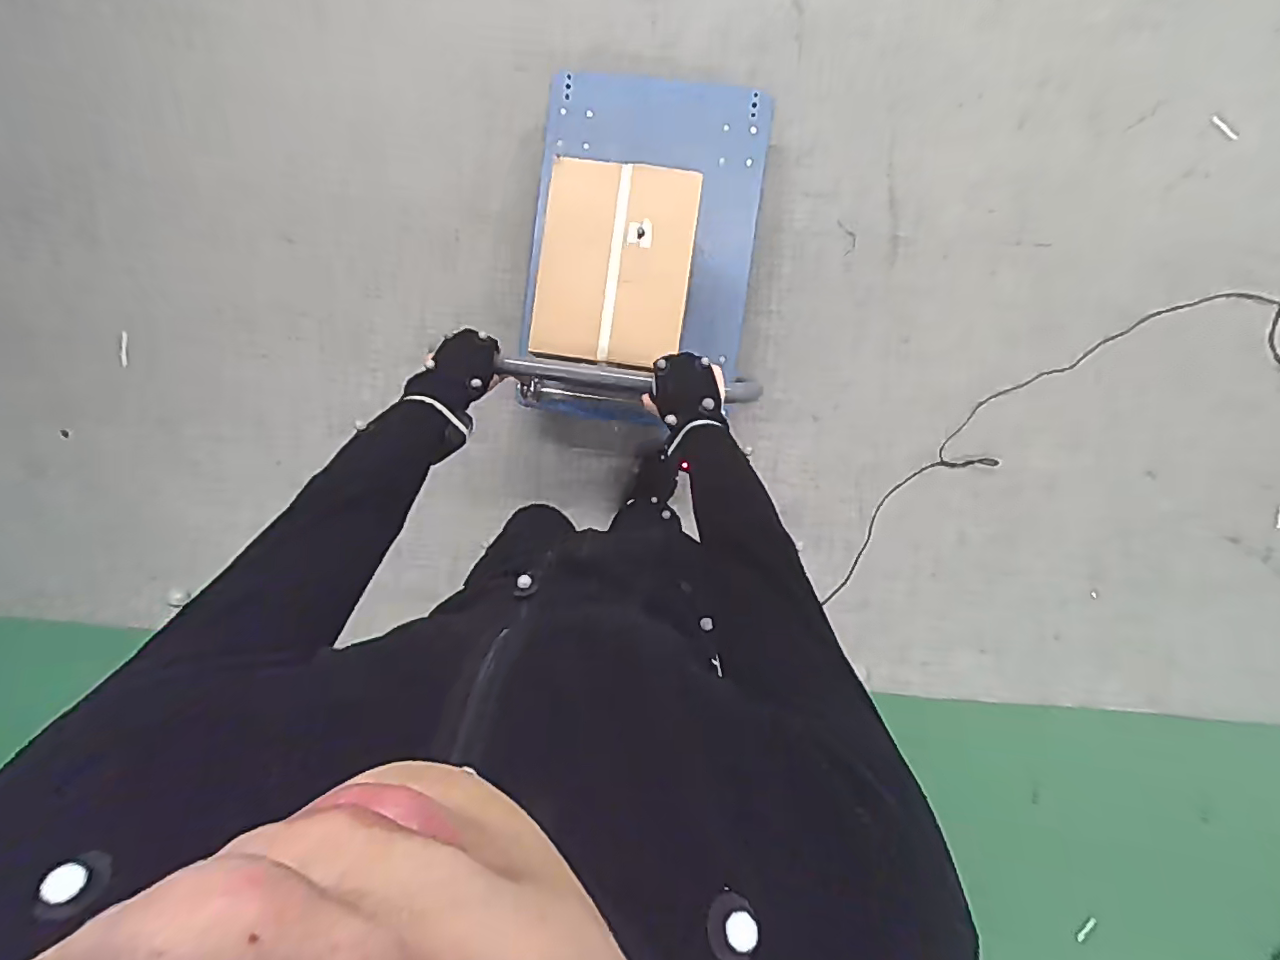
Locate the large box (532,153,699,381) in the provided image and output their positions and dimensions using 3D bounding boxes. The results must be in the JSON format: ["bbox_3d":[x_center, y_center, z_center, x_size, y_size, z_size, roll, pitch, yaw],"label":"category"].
[{"bbox_3d":[-0.045,-0.467,1.271,0.320,0.320,0.408,8,92,2],"label":"large box"}]
